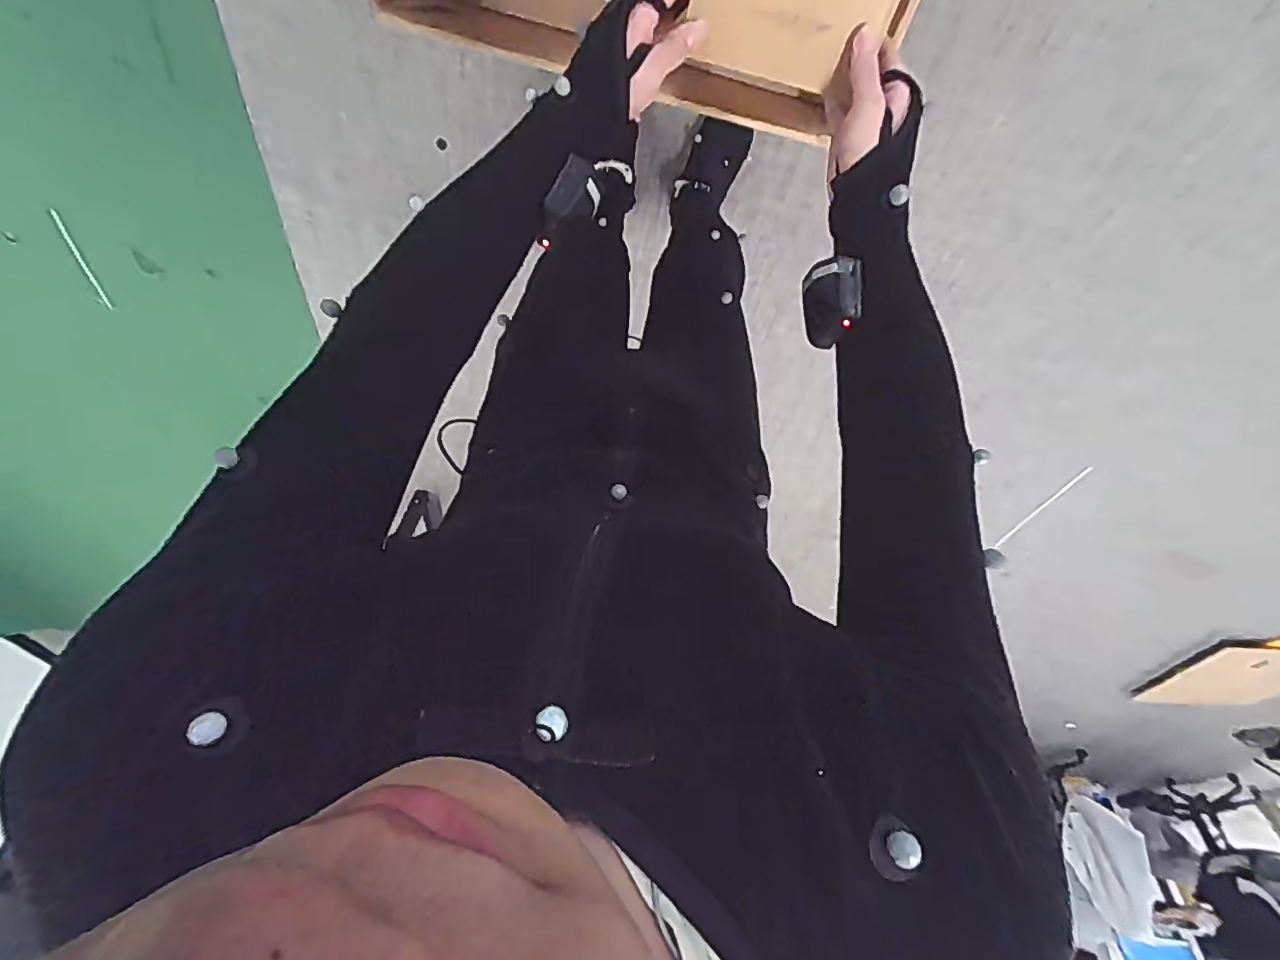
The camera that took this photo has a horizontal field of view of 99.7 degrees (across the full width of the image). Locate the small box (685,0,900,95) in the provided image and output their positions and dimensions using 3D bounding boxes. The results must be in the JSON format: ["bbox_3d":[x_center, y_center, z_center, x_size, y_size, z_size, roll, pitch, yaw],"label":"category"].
[{"bbox_3d":[0.139,-0.473,0.463,0.168,0.176,0.179,12,138,-6],"label":"small box"}]
